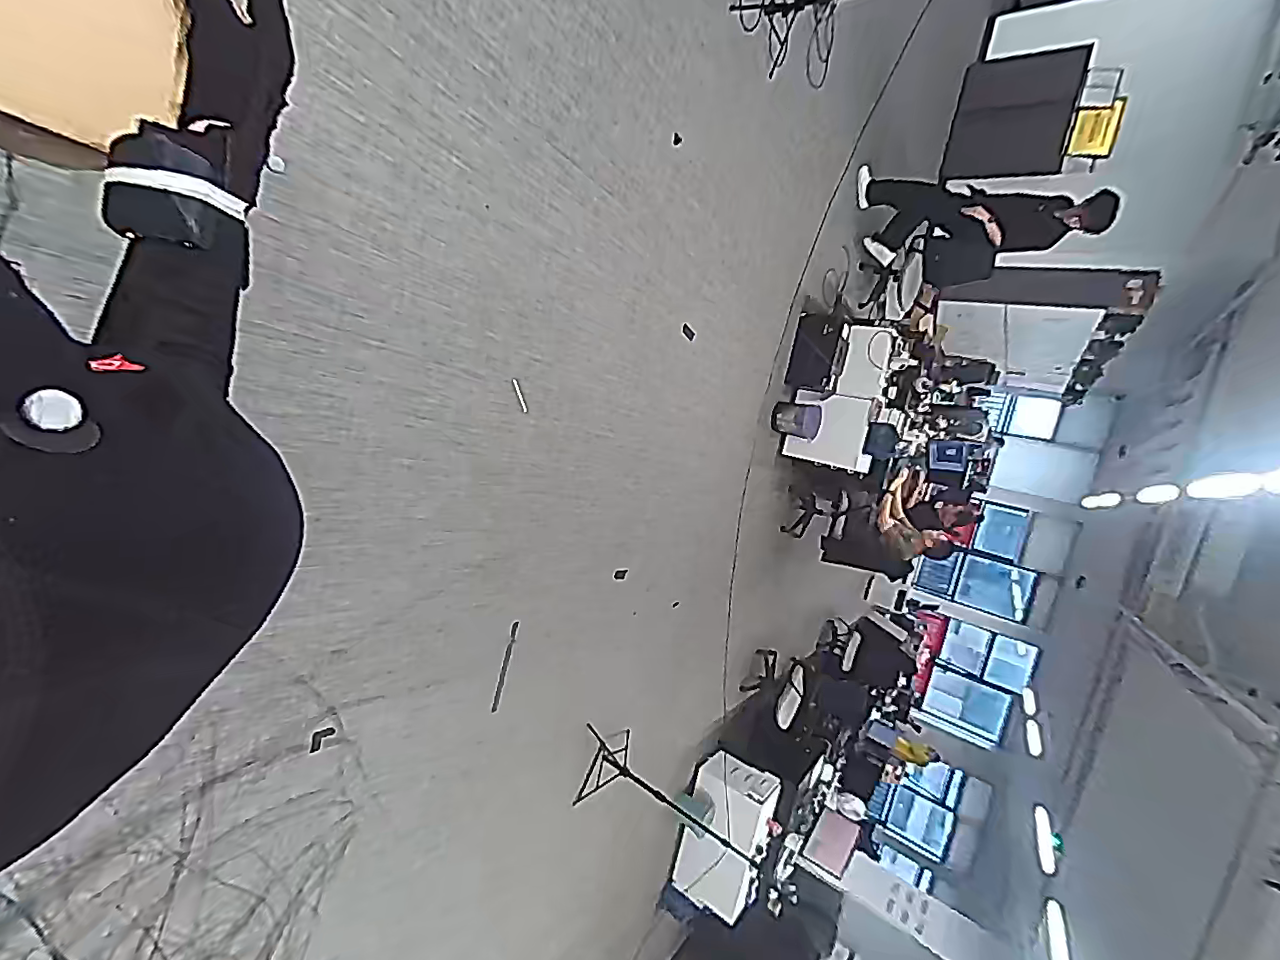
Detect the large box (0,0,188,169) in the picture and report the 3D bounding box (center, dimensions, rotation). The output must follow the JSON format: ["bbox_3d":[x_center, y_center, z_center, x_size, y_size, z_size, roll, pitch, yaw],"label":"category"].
[{"bbox_3d":[-0.544,-0.425,0.293,0.408,0.320,0.320,3,106,-58],"label":"large box"}]
